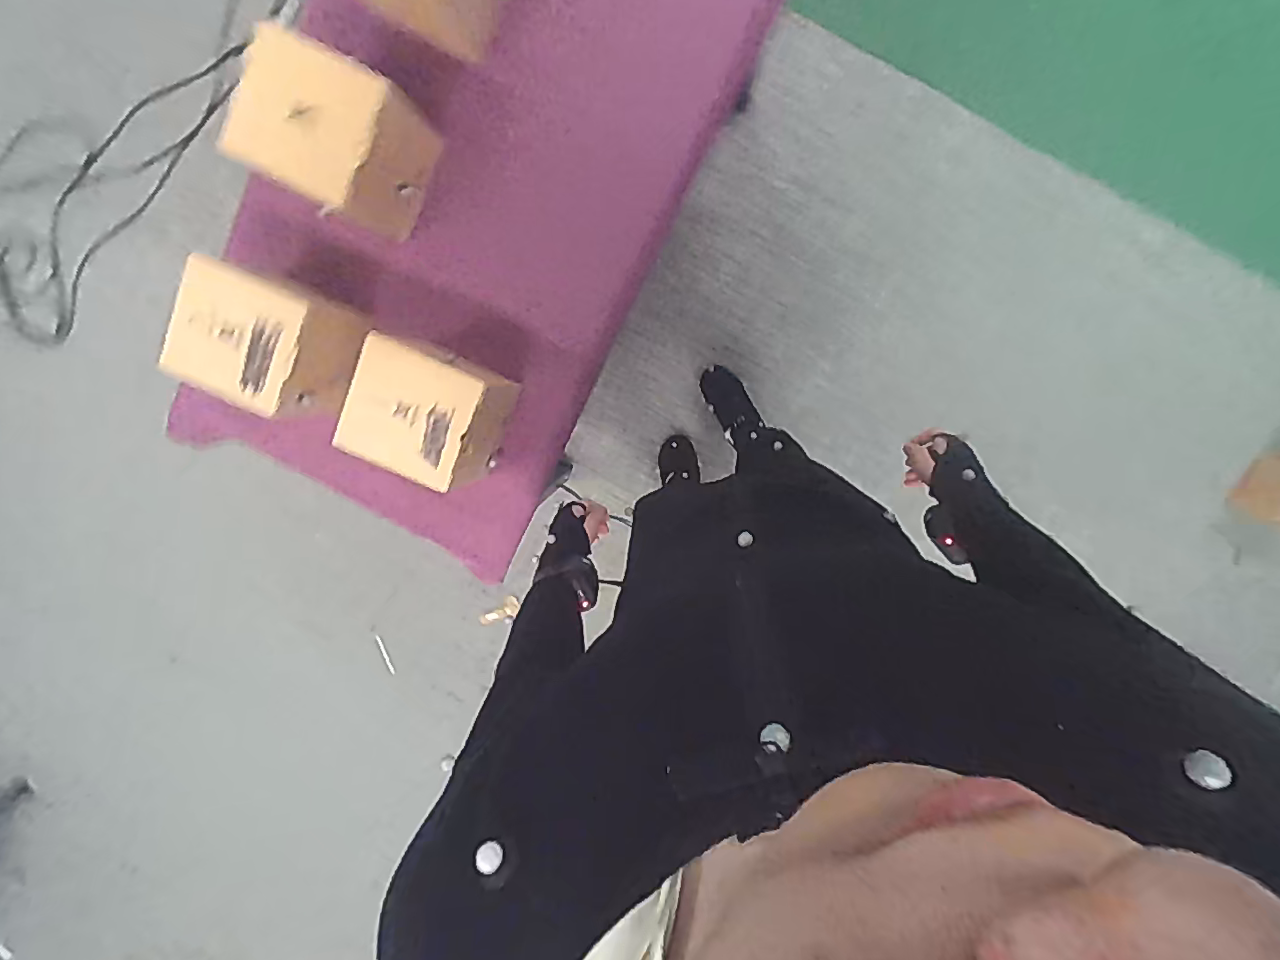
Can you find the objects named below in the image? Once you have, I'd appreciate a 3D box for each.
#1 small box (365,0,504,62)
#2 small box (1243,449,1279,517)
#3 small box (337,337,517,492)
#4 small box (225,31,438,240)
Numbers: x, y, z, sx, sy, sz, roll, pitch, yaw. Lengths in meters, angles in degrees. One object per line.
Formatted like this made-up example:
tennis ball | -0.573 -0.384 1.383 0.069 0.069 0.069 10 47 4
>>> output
small box | -0.294 -0.714 0.720 0.179 0.176 0.168 28 101 -1
small box | 1.793 0.026 1.426 0.179 0.176 0.168 28 100 -2
small box | -0.311 -0.102 0.824 0.179 0.176 0.168 24 100 2
small box | -0.427 -0.471 0.774 0.179 0.176 0.168 26 100 -2
